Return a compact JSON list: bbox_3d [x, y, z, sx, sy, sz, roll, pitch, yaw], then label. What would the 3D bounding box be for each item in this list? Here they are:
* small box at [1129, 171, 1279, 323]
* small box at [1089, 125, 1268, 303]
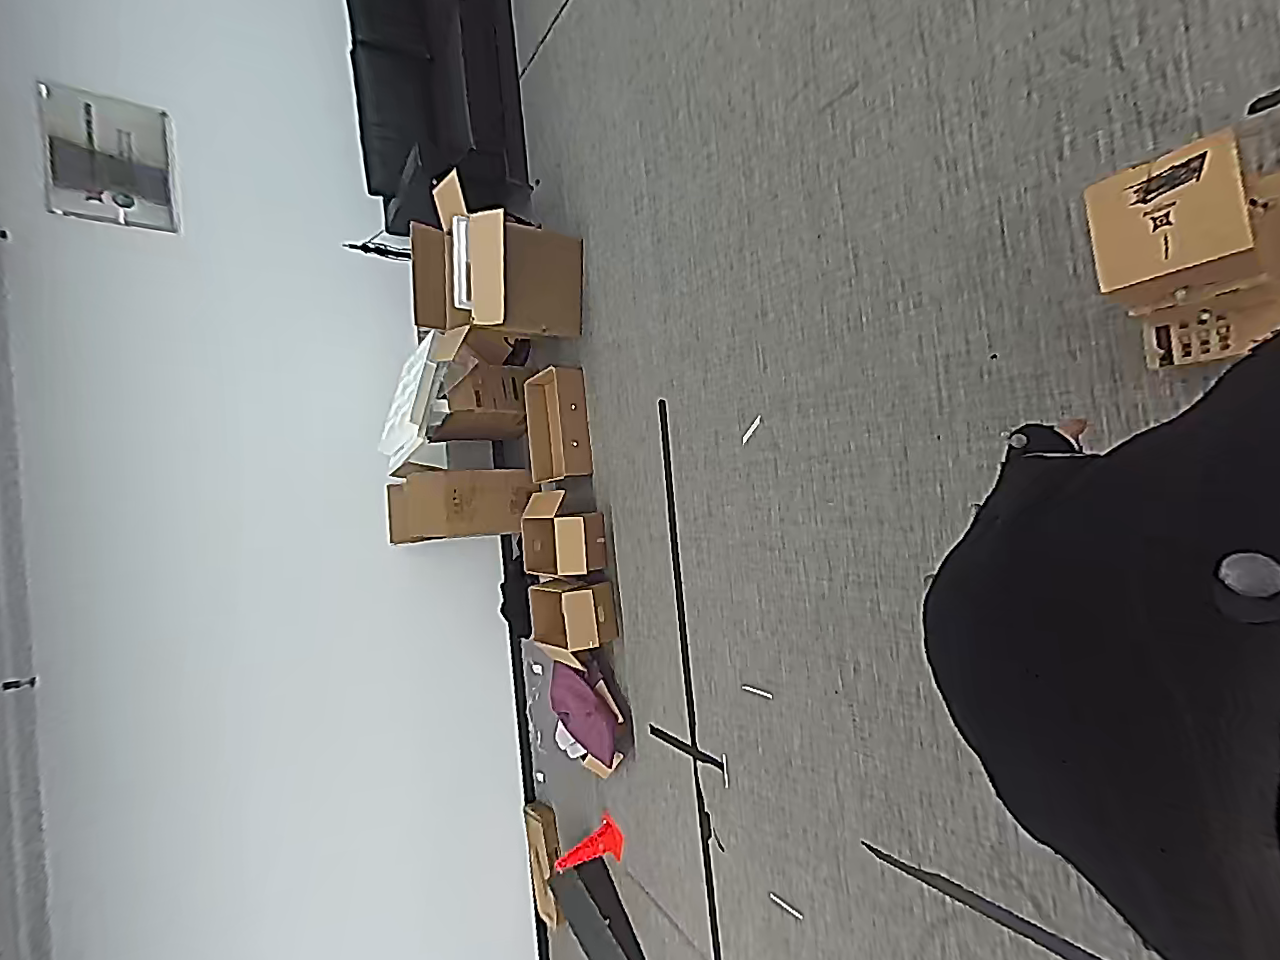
[{"bbox_3d":[0.970,-0.388,0.936,0.168,0.176,0.179,-7,87,54],"label":"small box"},{"bbox_3d":[0.836,-0.395,0.841,0.168,0.176,0.179,-10,85,54],"label":"small box"}]
